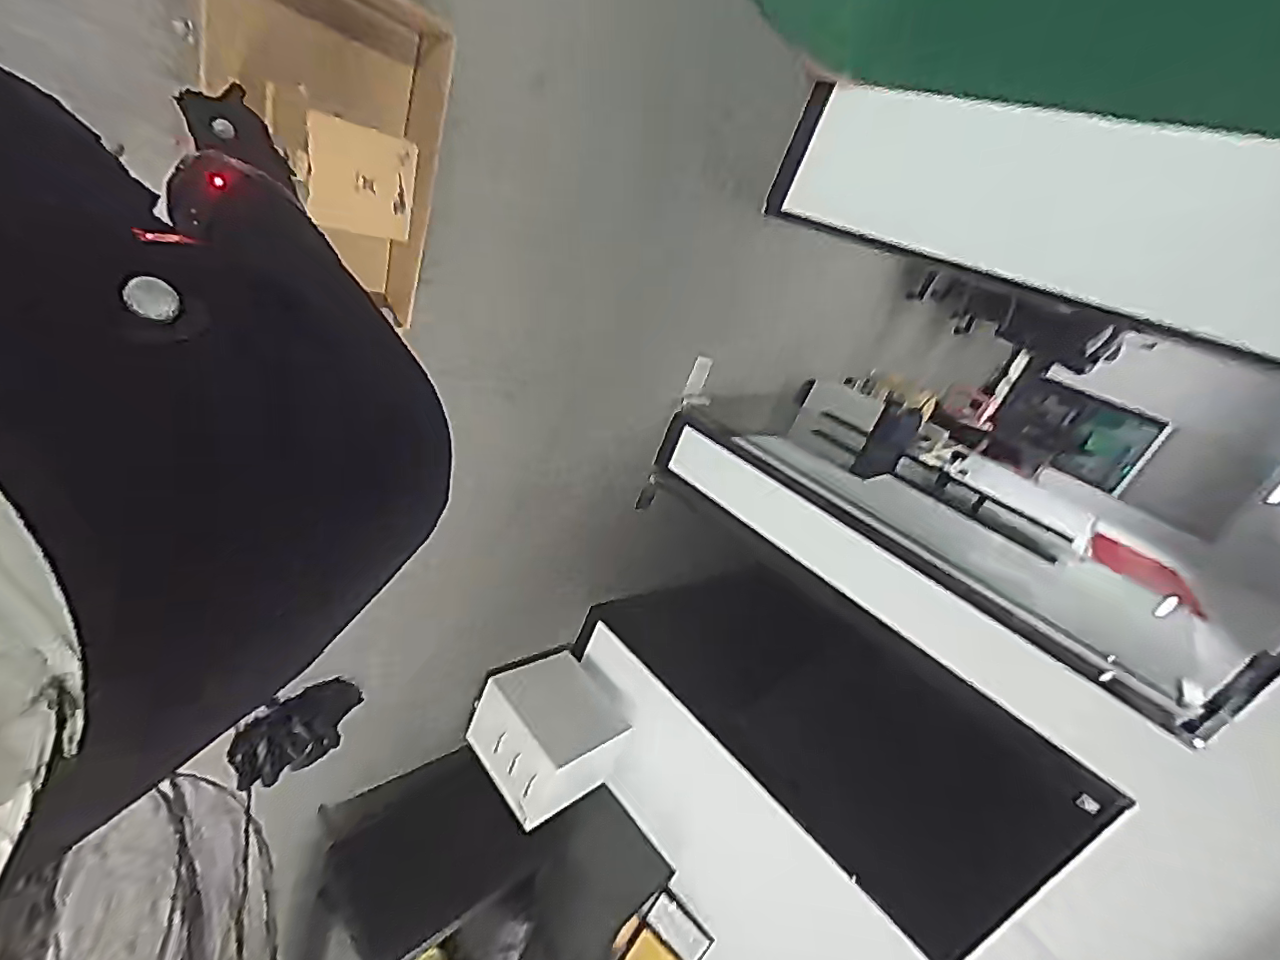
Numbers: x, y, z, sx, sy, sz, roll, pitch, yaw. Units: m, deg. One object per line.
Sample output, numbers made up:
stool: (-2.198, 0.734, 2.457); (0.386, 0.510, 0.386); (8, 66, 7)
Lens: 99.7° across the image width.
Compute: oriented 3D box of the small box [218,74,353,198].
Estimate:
small box: (-0.673, -0.628, 1.023); (0.168, 0.176, 0.179); (-8, 125, -51)

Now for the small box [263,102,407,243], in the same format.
small box: (-0.538, -0.536, 0.946); (0.179, 0.176, 0.168); (-12, 129, -48)
